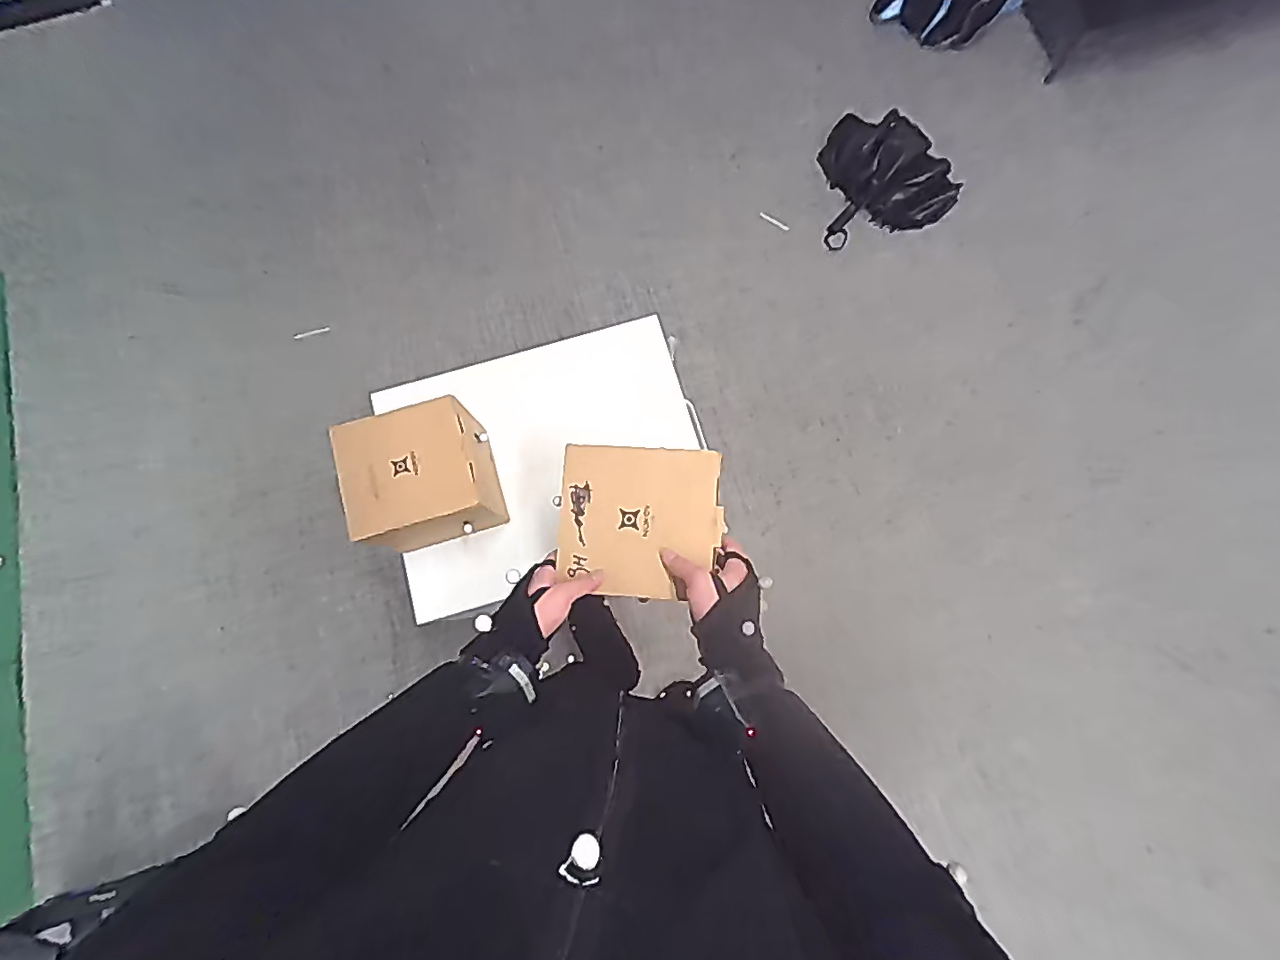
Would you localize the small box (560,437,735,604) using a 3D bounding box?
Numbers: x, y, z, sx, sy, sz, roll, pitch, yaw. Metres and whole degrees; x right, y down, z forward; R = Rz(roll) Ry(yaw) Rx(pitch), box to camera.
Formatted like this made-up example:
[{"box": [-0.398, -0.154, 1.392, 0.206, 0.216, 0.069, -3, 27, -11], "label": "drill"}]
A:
[{"box": [0.012, 0.053, 0.653, 0.179, 0.176, 0.168, 4, 80, 3], "label": "small box"}]

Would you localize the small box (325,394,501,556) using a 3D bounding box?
[{"box": [-0.308, 0.002, 0.773, 0.179, 0.176, 0.168, -17, 77, -5], "label": "small box"}]
